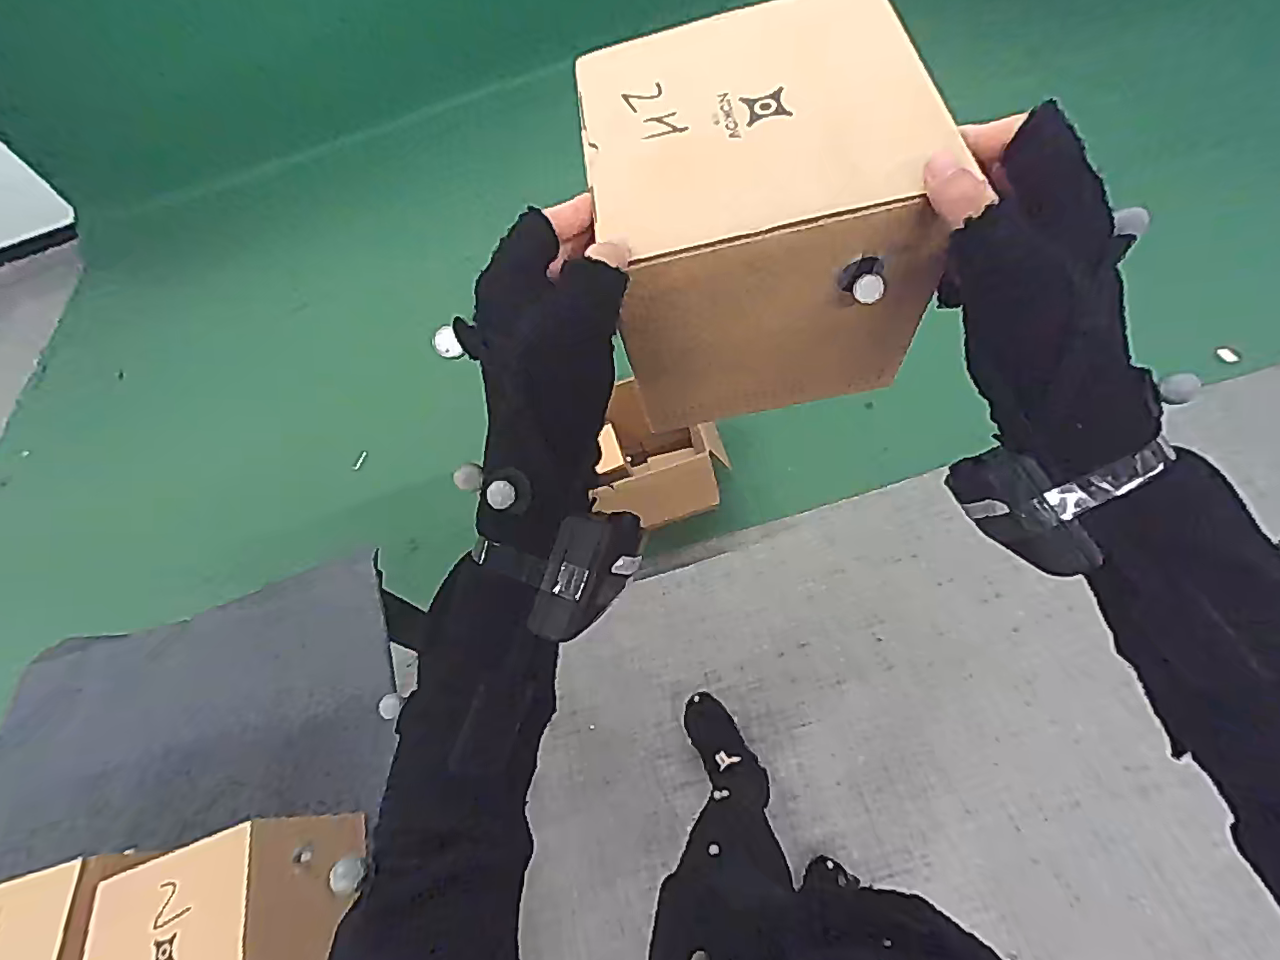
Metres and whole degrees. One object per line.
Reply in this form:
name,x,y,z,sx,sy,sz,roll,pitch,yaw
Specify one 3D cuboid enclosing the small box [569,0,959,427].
small box,0.064,-0.154,0.354,0.179,0.176,0.168,-11,66,7
